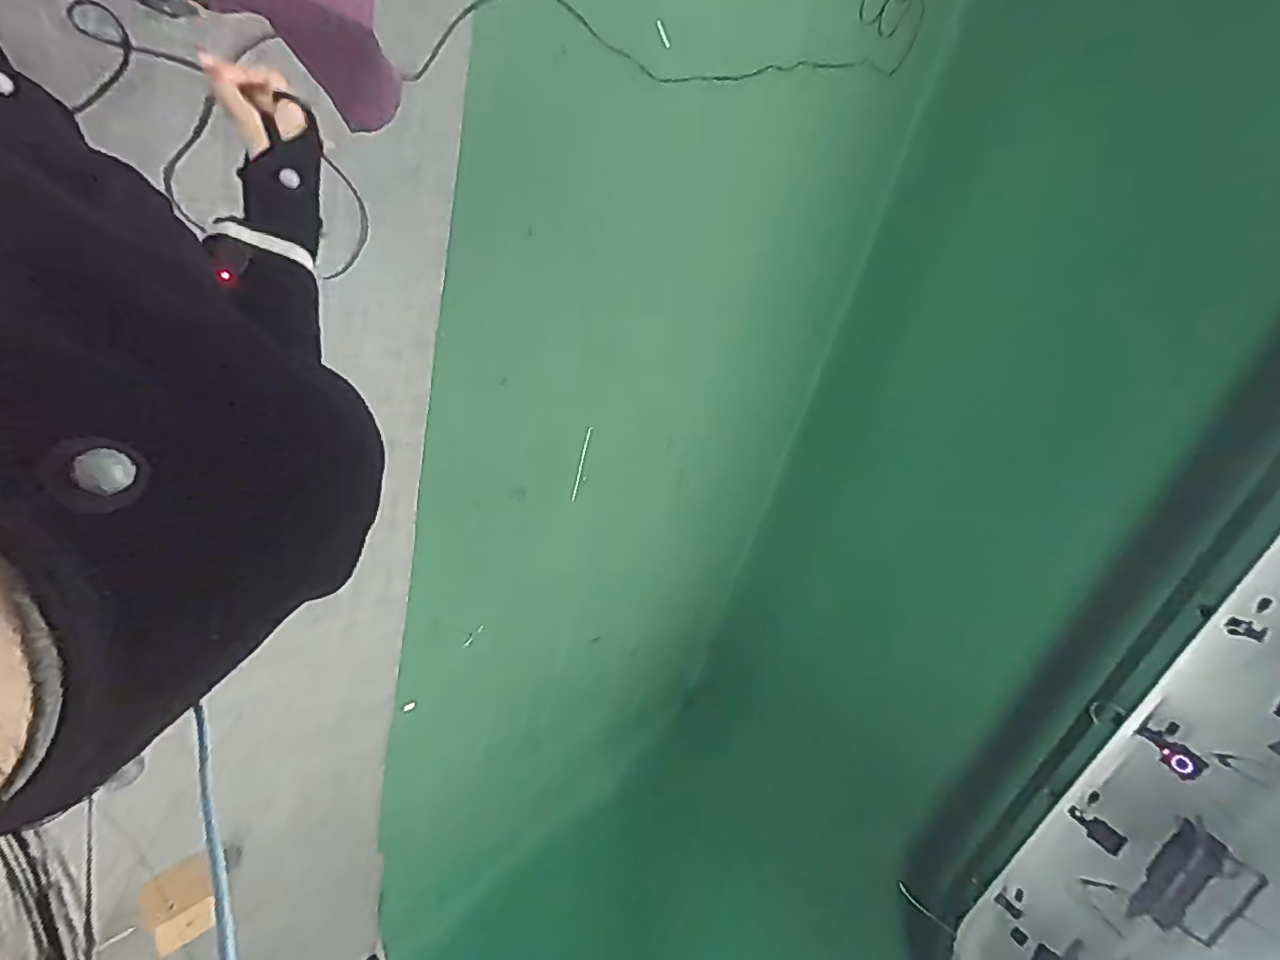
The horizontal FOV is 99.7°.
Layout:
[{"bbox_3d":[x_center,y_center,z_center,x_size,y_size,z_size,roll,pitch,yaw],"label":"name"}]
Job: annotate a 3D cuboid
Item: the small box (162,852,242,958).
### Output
[{"bbox_3d":[-1.445,1.392,1.782,0.179,0.176,0.168,-15,126,-50],"label":"small box"}]
